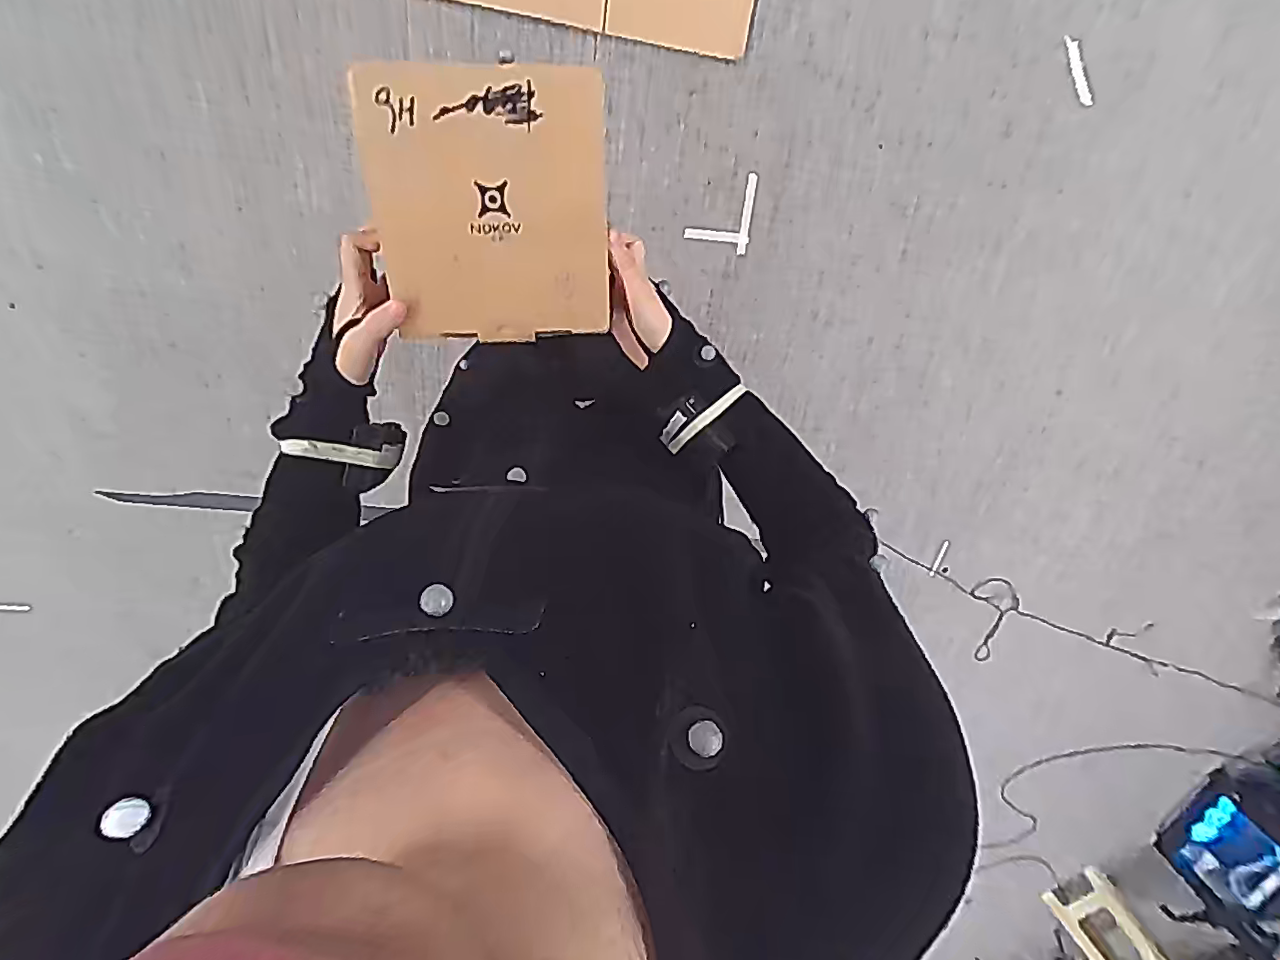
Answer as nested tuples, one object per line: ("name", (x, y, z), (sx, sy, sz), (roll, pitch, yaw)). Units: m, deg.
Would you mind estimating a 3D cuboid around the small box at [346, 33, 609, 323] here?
("small box", (-0.112, -0.237, 0.450), (0.168, 0.176, 0.179), (-3, 118, -7))
